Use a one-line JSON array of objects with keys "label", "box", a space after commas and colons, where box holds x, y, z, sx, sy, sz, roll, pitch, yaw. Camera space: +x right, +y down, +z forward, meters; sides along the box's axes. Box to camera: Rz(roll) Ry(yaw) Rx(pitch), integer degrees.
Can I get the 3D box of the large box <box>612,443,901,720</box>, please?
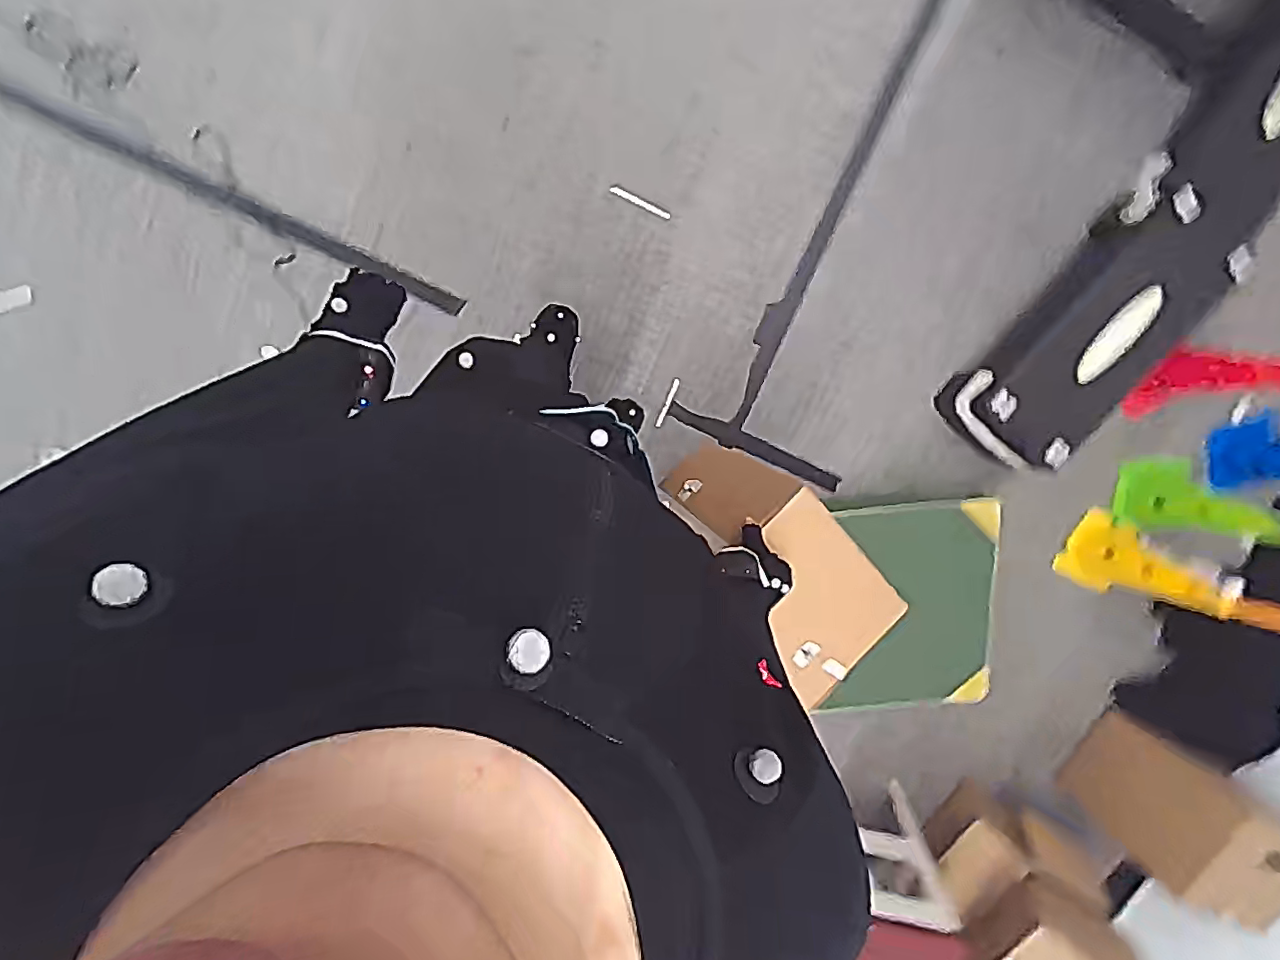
[{"label": "large box", "box": [0.193, 0.164, 1.042, 0.320, 0.408, 0.320, 43, 90, -18]}]
